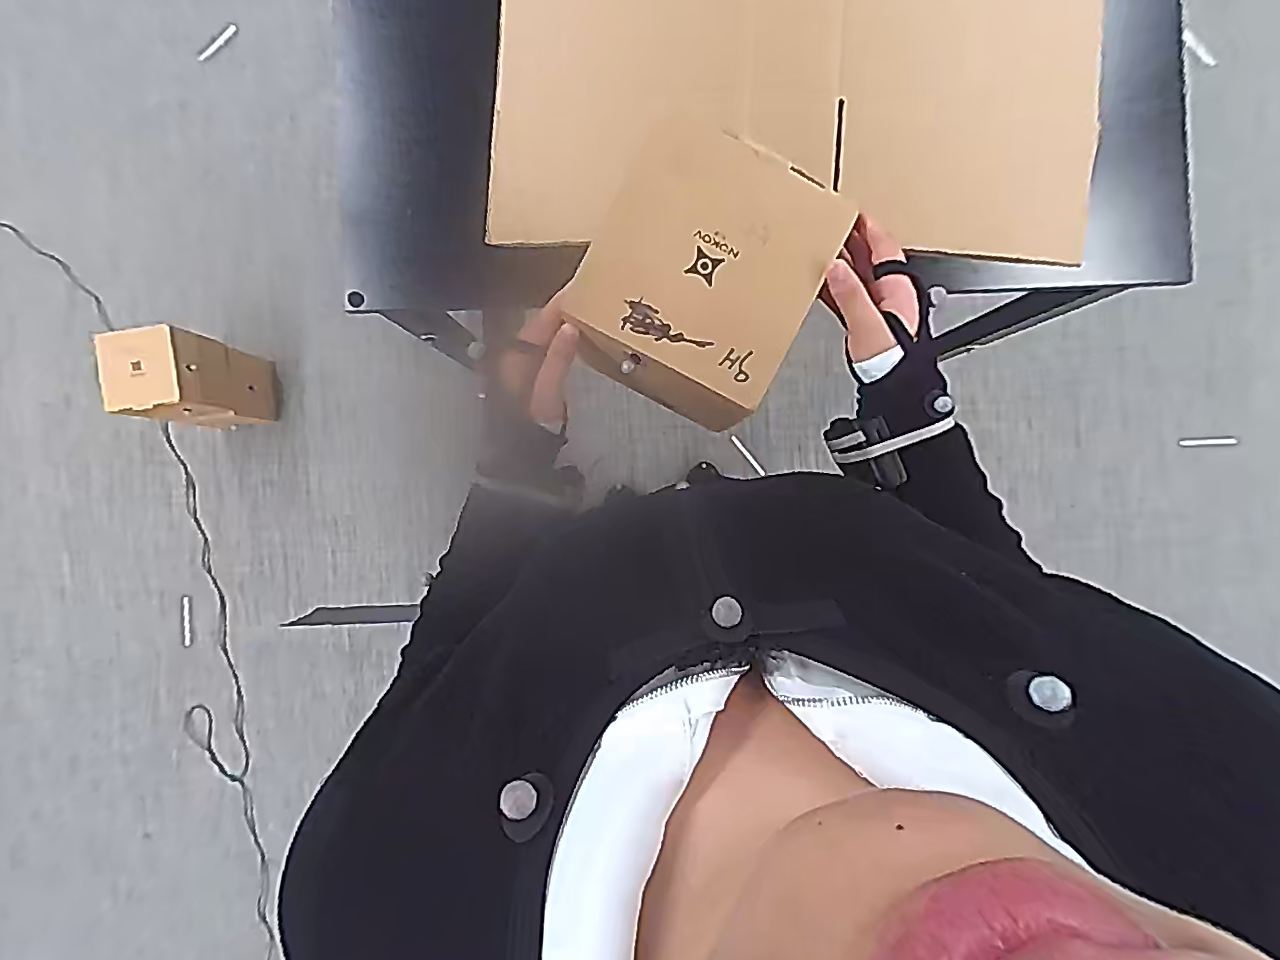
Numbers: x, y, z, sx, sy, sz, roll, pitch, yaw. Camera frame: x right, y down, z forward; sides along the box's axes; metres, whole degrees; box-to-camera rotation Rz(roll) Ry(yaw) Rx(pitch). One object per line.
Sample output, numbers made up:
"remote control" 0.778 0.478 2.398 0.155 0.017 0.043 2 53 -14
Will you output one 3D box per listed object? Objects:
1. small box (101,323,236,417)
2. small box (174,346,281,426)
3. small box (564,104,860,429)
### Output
"small box" -1.089 -0.248 1.263 0.168 0.176 0.179 -9 89 -1
"small box" -1.086 -0.242 1.425 0.168 0.176 0.179 -6 91 0
"small box" 0.052 -0.164 0.477 0.168 0.176 0.179 28 88 1
